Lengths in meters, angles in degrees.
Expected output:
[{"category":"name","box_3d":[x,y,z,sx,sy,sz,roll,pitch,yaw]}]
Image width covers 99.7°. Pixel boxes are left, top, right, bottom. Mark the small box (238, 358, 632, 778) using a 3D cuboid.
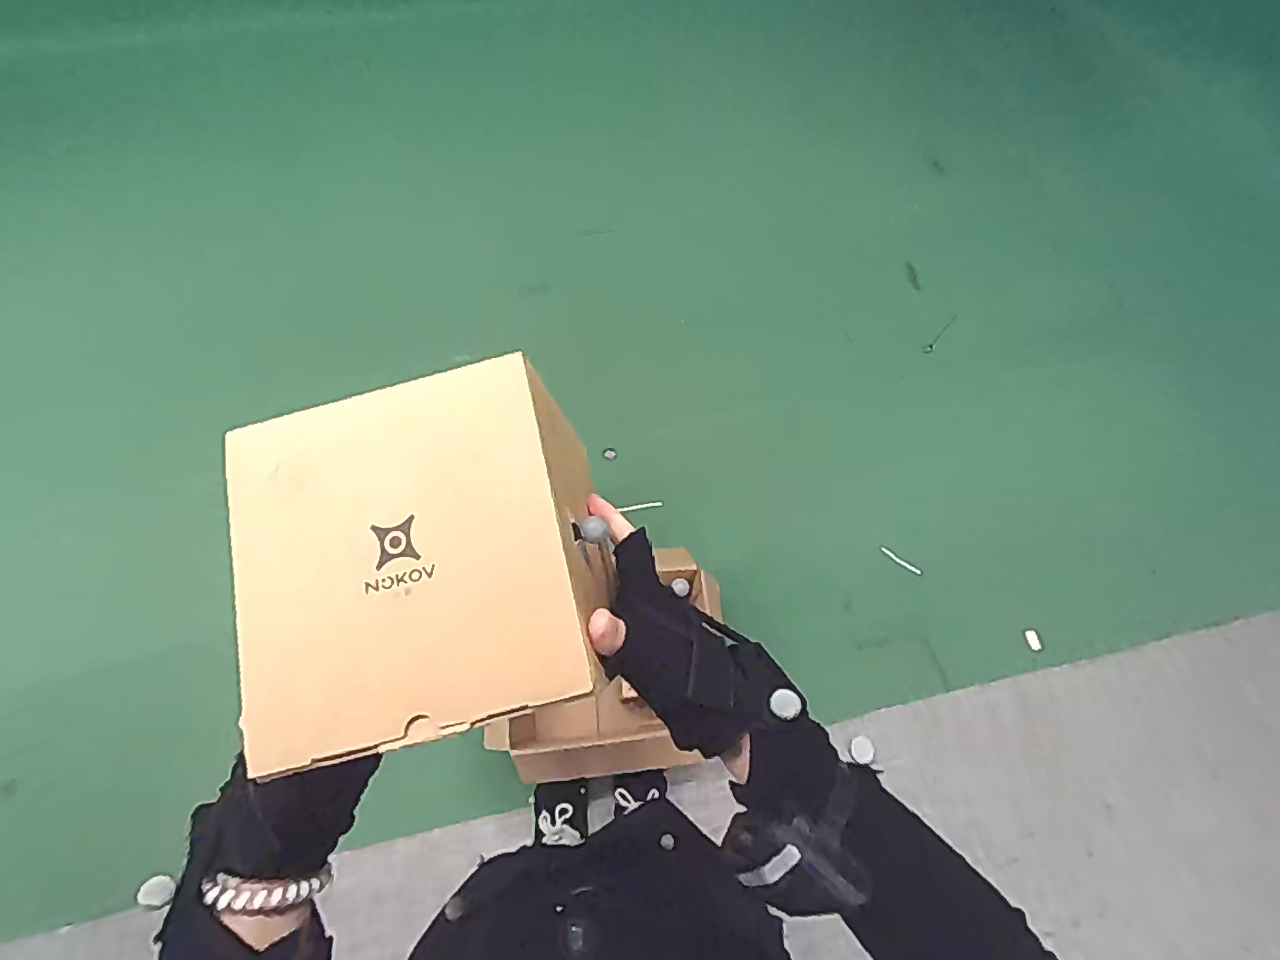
[{"category":"small box","box_3d":[-0.107,0.053,0.343,0.168,0.176,0.179,-15,78,0]}]
